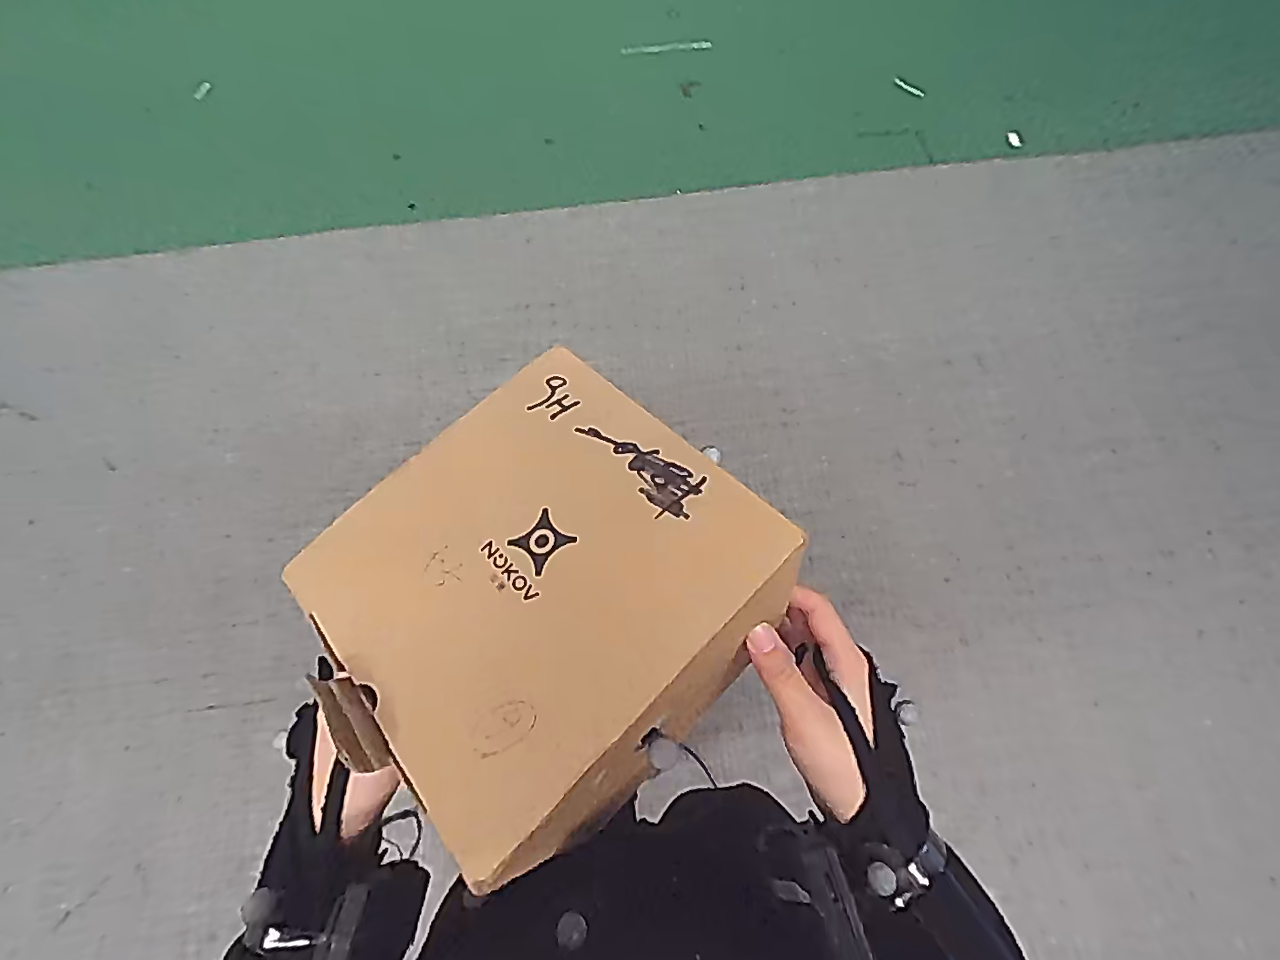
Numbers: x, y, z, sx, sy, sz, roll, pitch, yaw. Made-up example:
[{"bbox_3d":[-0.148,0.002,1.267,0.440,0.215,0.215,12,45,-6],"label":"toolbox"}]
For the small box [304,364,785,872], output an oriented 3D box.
[{"bbox_3d":[-0.036,0.076,0.316,0.179,0.176,0.168,-44,64,-13],"label":"small box"}]
